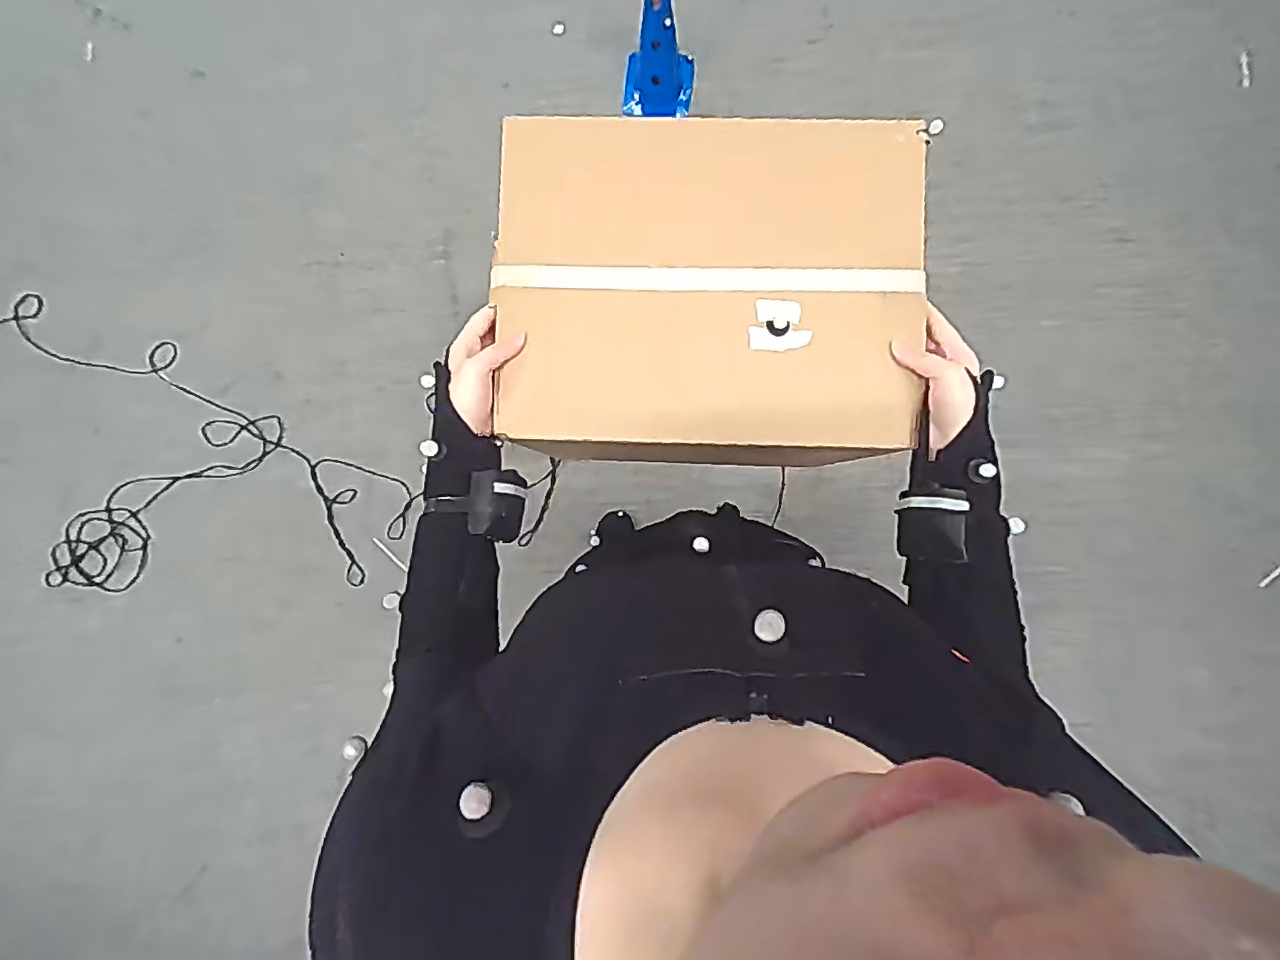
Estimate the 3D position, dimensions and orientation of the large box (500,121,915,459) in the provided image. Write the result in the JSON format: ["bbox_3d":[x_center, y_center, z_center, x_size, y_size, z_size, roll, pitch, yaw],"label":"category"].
[{"bbox_3d":[0.064,-0.190,0.669,0.408,0.320,0.320,1,89,0],"label":"large box"}]

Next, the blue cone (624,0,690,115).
[{"bbox_3d":[0.044,-1.194,1.445,0.193,0.380,0.192,8,86,3],"label":"blue cone"}]
